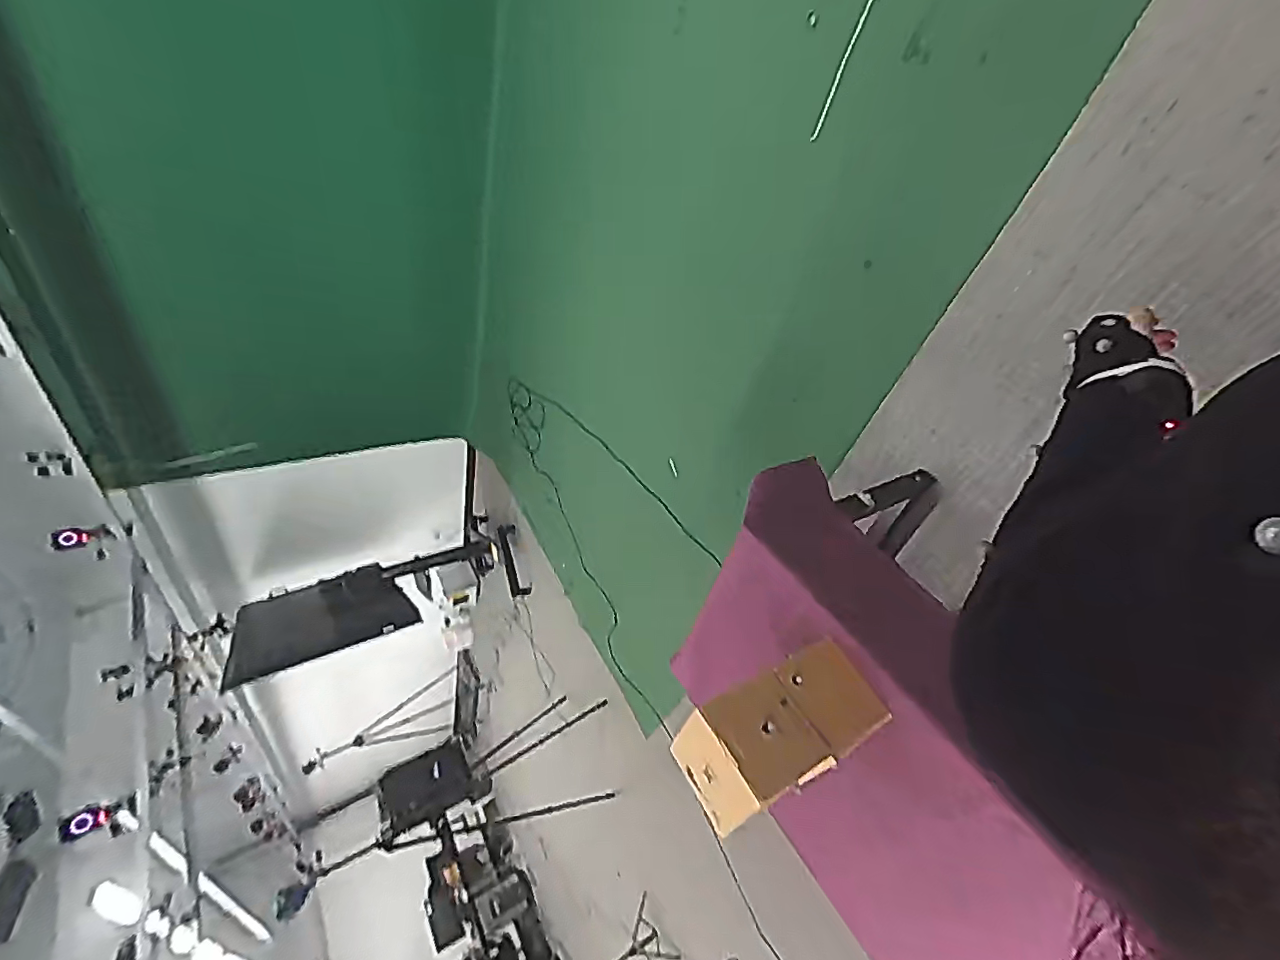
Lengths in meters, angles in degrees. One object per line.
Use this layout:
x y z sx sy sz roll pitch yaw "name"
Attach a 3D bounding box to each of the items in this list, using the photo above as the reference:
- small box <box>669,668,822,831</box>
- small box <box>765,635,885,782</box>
0.183 0.459 0.939 0.168 0.176 0.179 53 141 33 "small box"
0.320 0.427 1.024 0.179 0.176 0.168 55 142 30 "small box"
